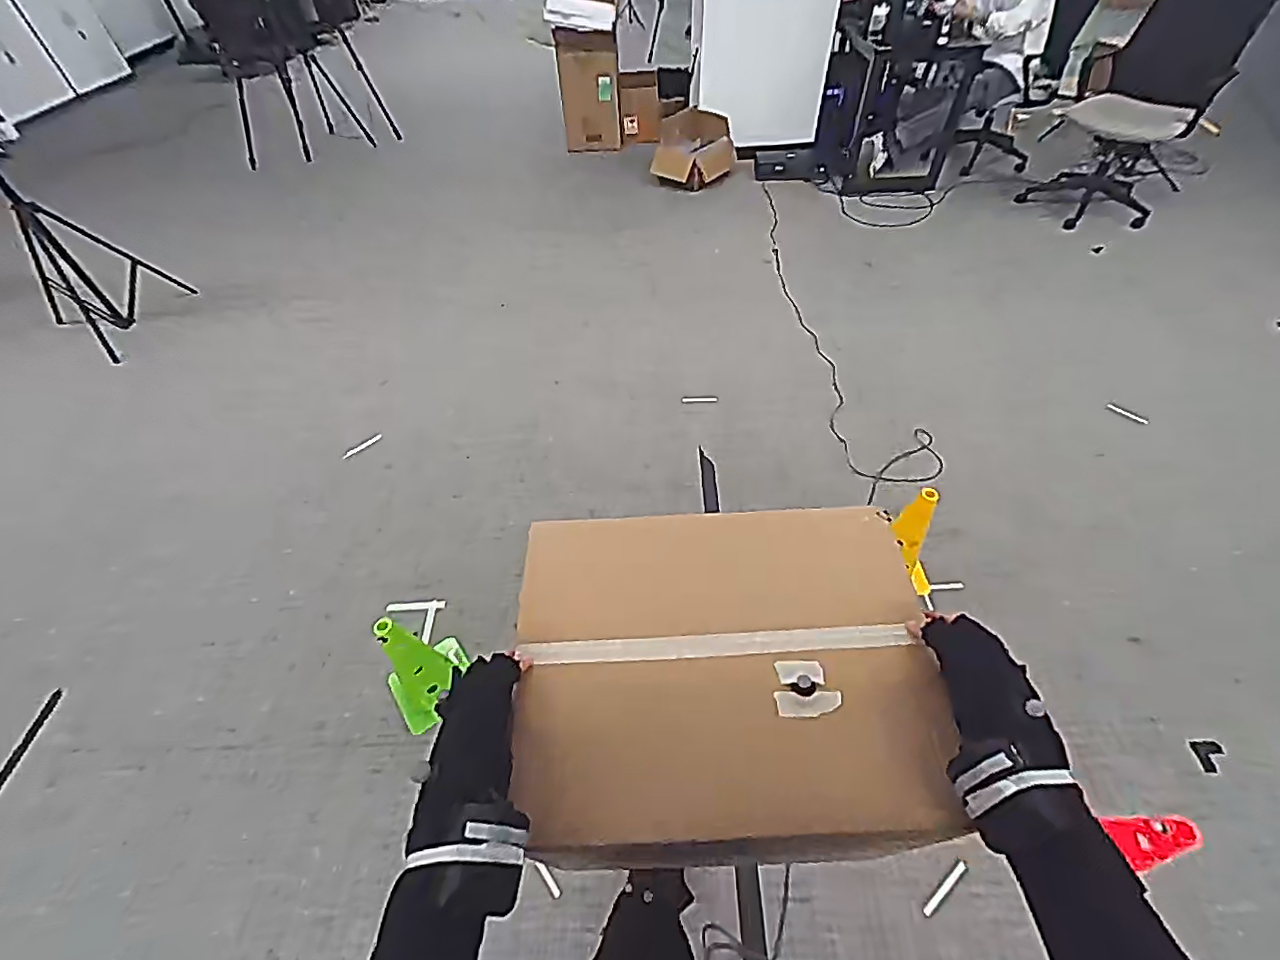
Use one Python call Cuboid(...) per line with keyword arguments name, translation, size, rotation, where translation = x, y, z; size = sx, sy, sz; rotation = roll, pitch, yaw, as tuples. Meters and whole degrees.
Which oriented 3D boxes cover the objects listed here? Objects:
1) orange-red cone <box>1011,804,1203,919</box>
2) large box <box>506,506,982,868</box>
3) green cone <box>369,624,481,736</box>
Cuboid(name="orange-red cone", translation=(0.920, 0.696, 1.030), size=(0.198, 0.360, 0.199), rotation=(-3, 48, -1))
Cuboid(name="large box", translation=(0.083, 0.255, 0.650), size=(0.408, 0.320, 0.320), rotation=(-3, 51, 0))
Cuboid(name="green cone", translation=(-0.566, 0.446, 1.336), size=(0.202, 0.368, 0.200), rotation=(-33, 54, -21))
